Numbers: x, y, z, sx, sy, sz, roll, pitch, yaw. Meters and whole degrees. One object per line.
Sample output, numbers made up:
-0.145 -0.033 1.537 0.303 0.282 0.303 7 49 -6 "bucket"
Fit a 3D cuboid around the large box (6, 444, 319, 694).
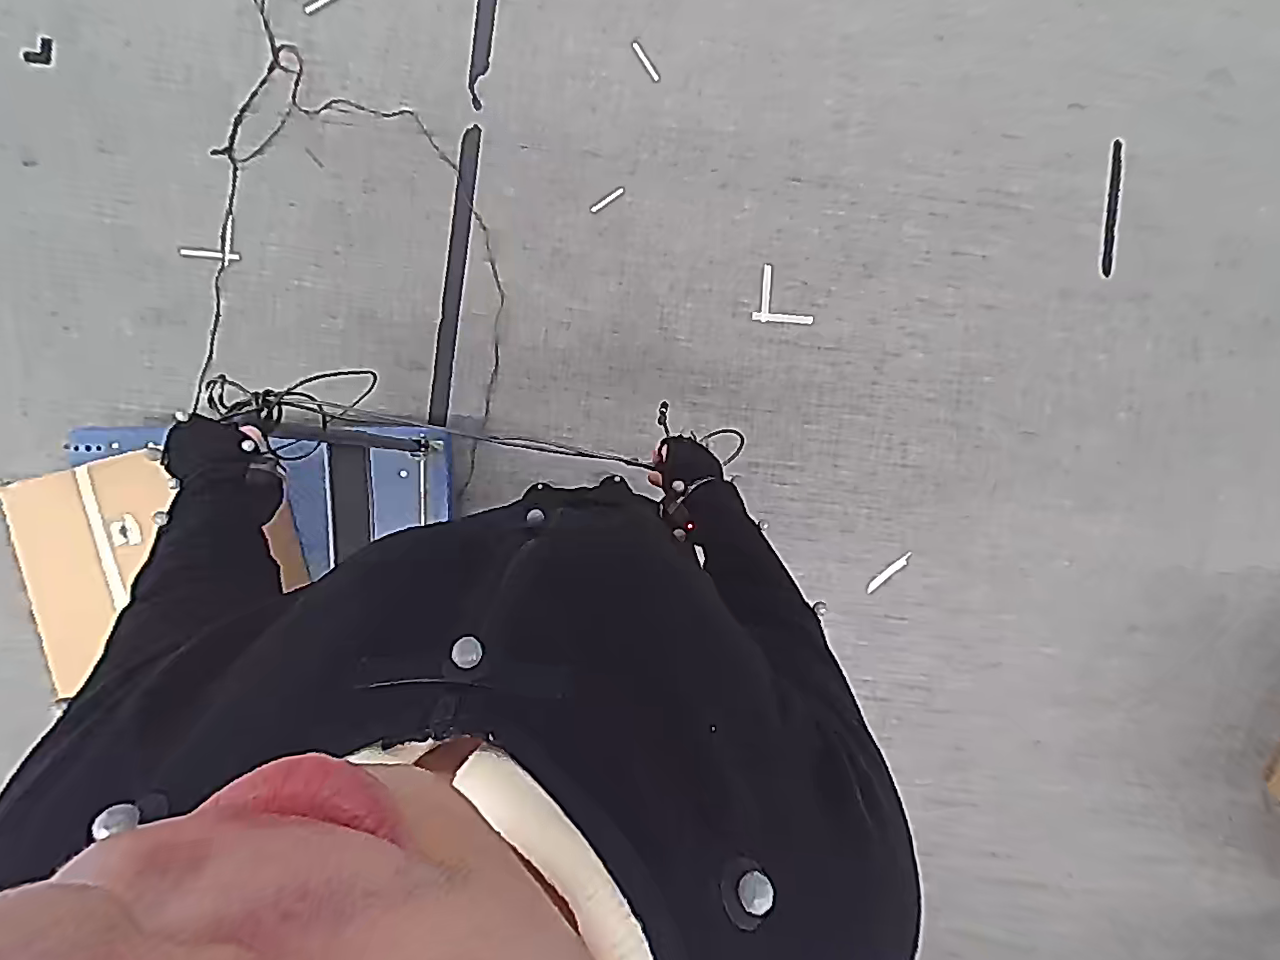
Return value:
-0.953 0.163 1.134 0.320 0.320 0.408 -15 91 -3 "large box"
